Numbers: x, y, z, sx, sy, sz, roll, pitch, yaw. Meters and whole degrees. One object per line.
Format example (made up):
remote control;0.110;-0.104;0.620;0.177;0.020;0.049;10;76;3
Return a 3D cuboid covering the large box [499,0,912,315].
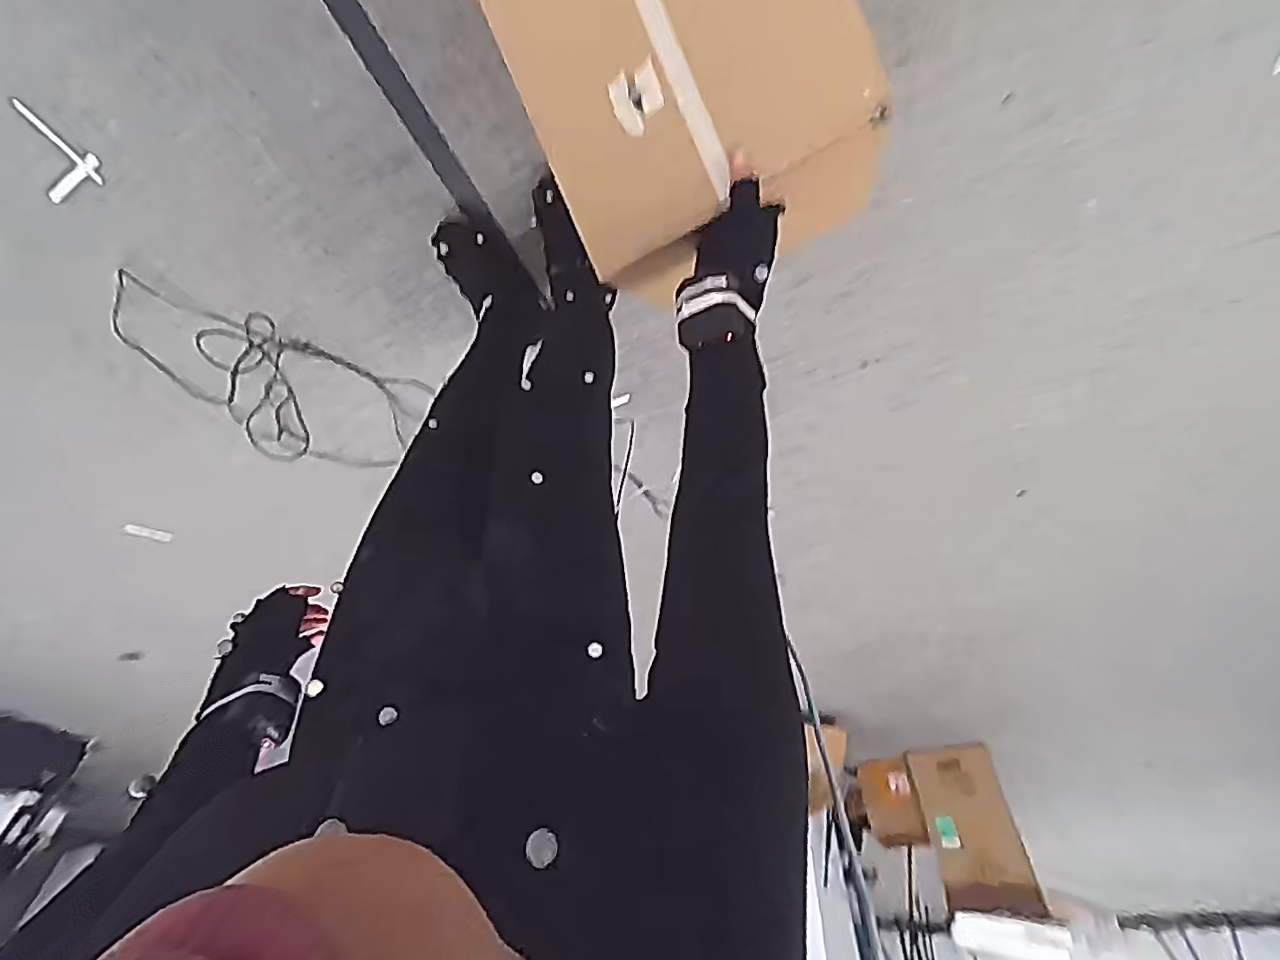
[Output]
large box;0.083;-0.473;0.678;0.320;0.320;0.408;-22;93;21
